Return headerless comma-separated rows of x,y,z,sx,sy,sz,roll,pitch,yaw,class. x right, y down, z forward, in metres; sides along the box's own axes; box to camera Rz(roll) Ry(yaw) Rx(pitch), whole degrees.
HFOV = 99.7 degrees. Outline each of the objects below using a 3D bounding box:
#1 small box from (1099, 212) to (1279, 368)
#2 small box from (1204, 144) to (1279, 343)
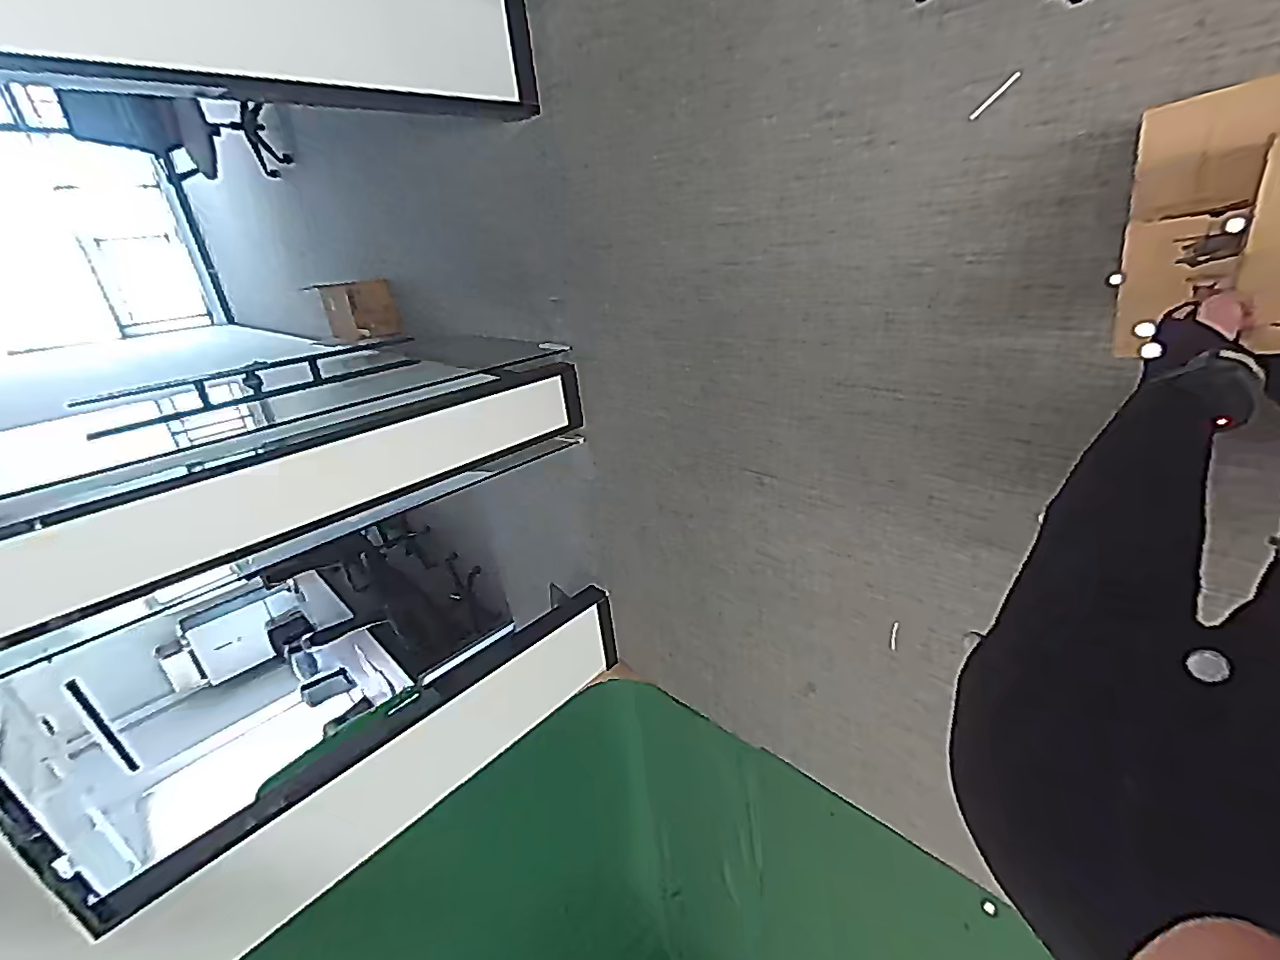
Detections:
0.745,-0.256,0.725,0.168,0.176,0.179,12,122,44,small box
0.695,-0.240,0.527,0.168,0.176,0.179,15,124,43,small box
